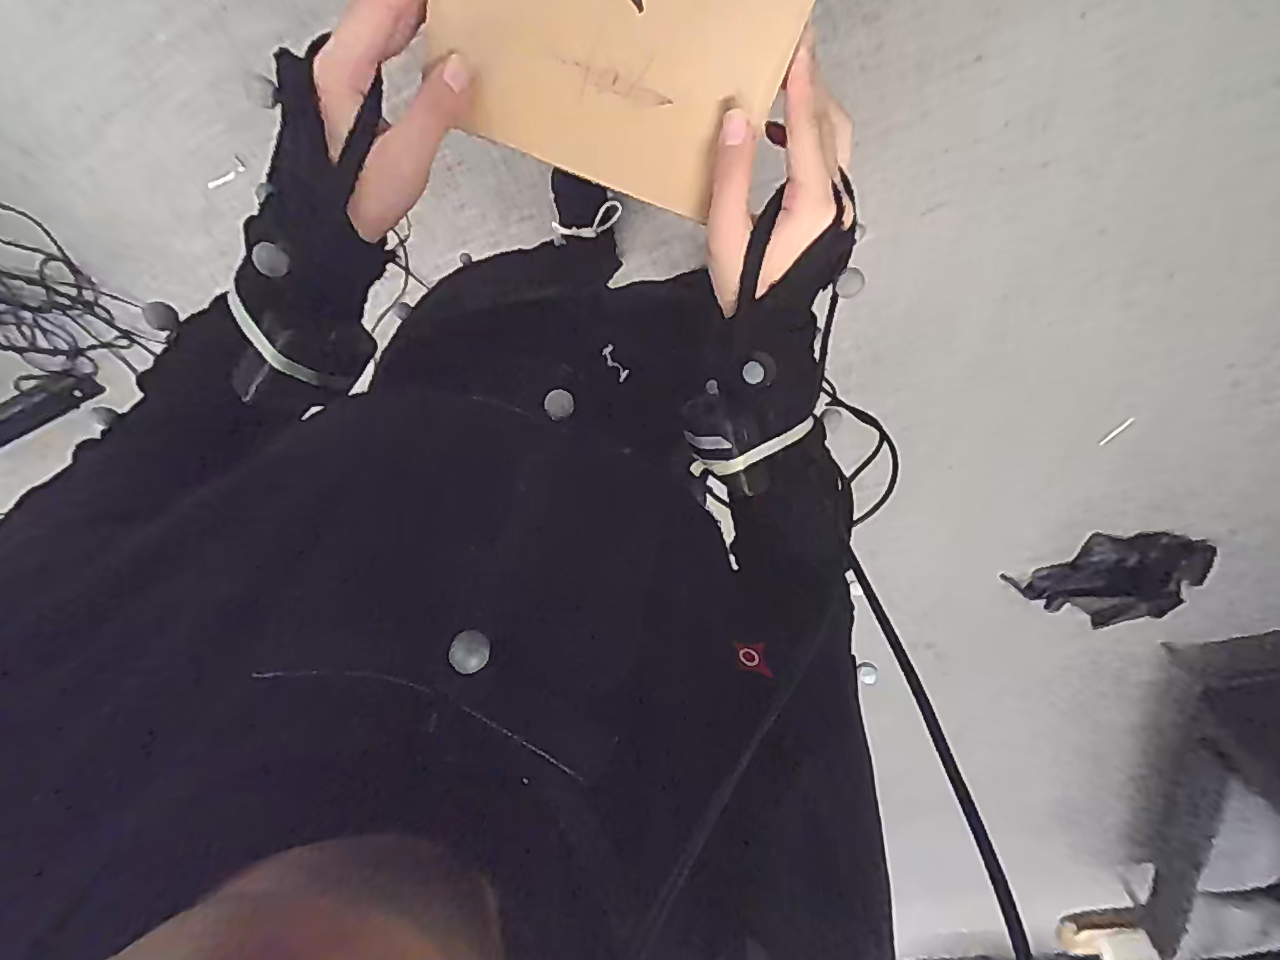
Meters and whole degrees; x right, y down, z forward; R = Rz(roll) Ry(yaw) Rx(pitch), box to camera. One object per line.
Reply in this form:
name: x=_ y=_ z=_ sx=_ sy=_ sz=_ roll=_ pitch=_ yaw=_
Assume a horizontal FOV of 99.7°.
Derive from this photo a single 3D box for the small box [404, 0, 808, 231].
small box: x=-0.004 y=-0.268 z=0.288 sx=0.168 sy=0.176 sz=0.179 roll=18 pitch=127 yaw=-8
